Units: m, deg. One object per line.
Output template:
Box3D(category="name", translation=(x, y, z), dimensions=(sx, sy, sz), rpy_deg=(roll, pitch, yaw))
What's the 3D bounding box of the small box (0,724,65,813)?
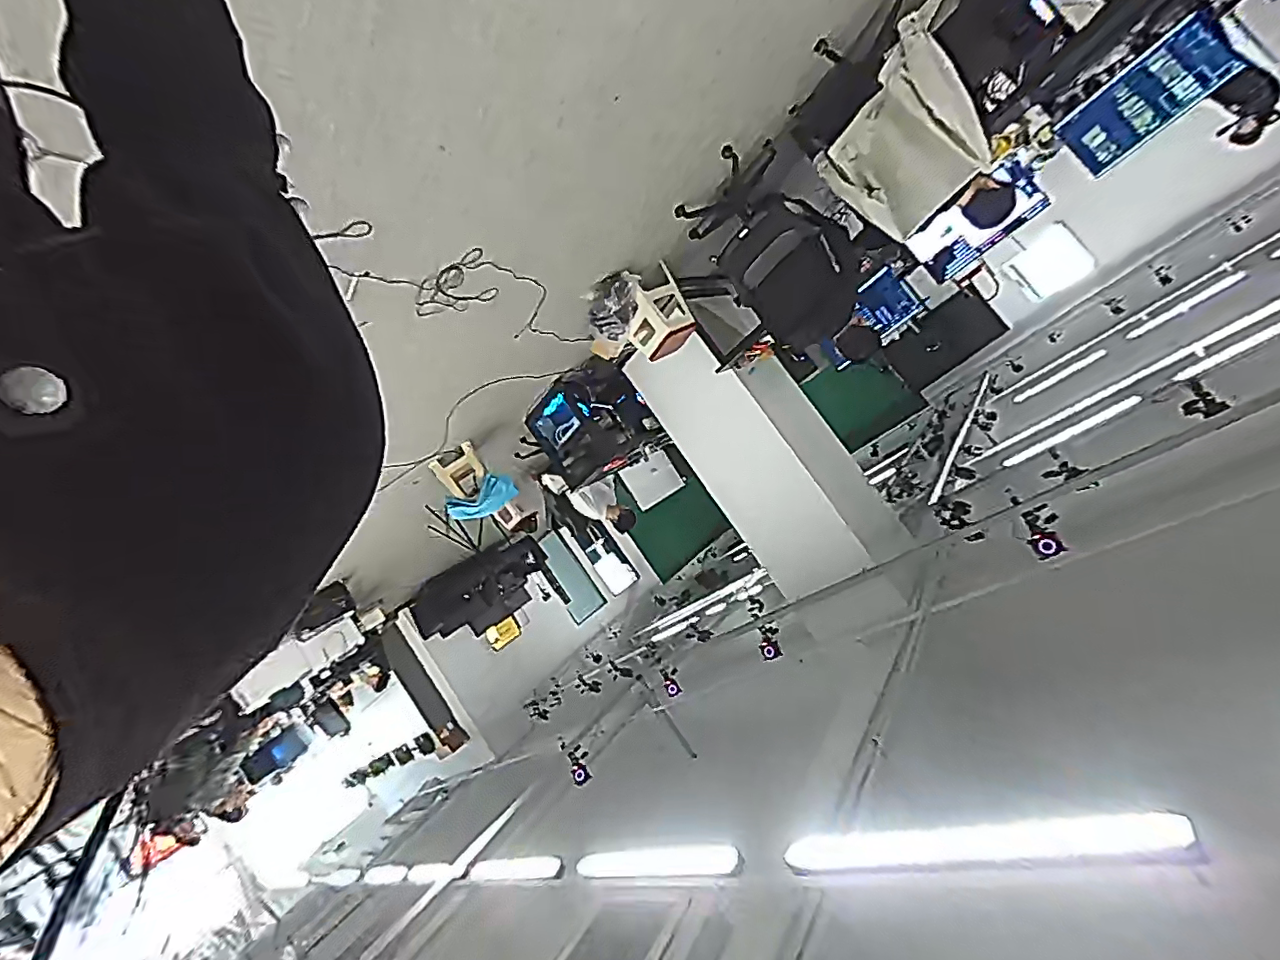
Box3D(category="small box", translation=(-1.889, 0.872, 1.628), dimensions=(0.179, 0.176, 0.168), rpy_deg=(-42, 173, 34))
